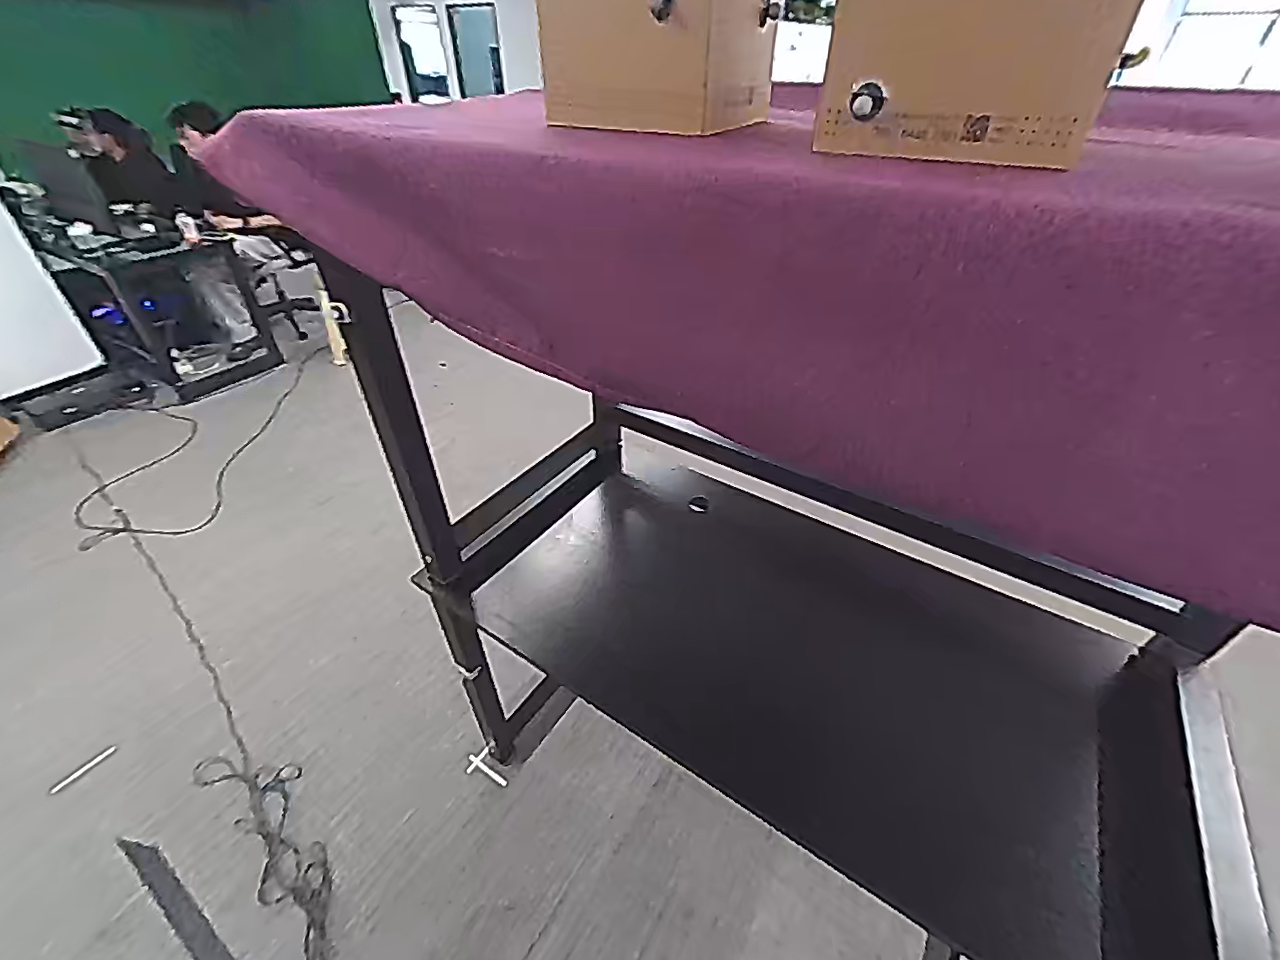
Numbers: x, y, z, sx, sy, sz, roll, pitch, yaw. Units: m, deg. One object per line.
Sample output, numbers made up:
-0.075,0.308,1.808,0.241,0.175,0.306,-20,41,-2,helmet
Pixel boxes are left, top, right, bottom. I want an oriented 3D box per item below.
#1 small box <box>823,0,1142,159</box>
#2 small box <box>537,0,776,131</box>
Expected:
0.237,-0.327,0.370,0.168,0.176,0.179,19,41,22,small box
0.021,-0.431,0.502,0.179,0.176,0.168,20,42,24,small box
